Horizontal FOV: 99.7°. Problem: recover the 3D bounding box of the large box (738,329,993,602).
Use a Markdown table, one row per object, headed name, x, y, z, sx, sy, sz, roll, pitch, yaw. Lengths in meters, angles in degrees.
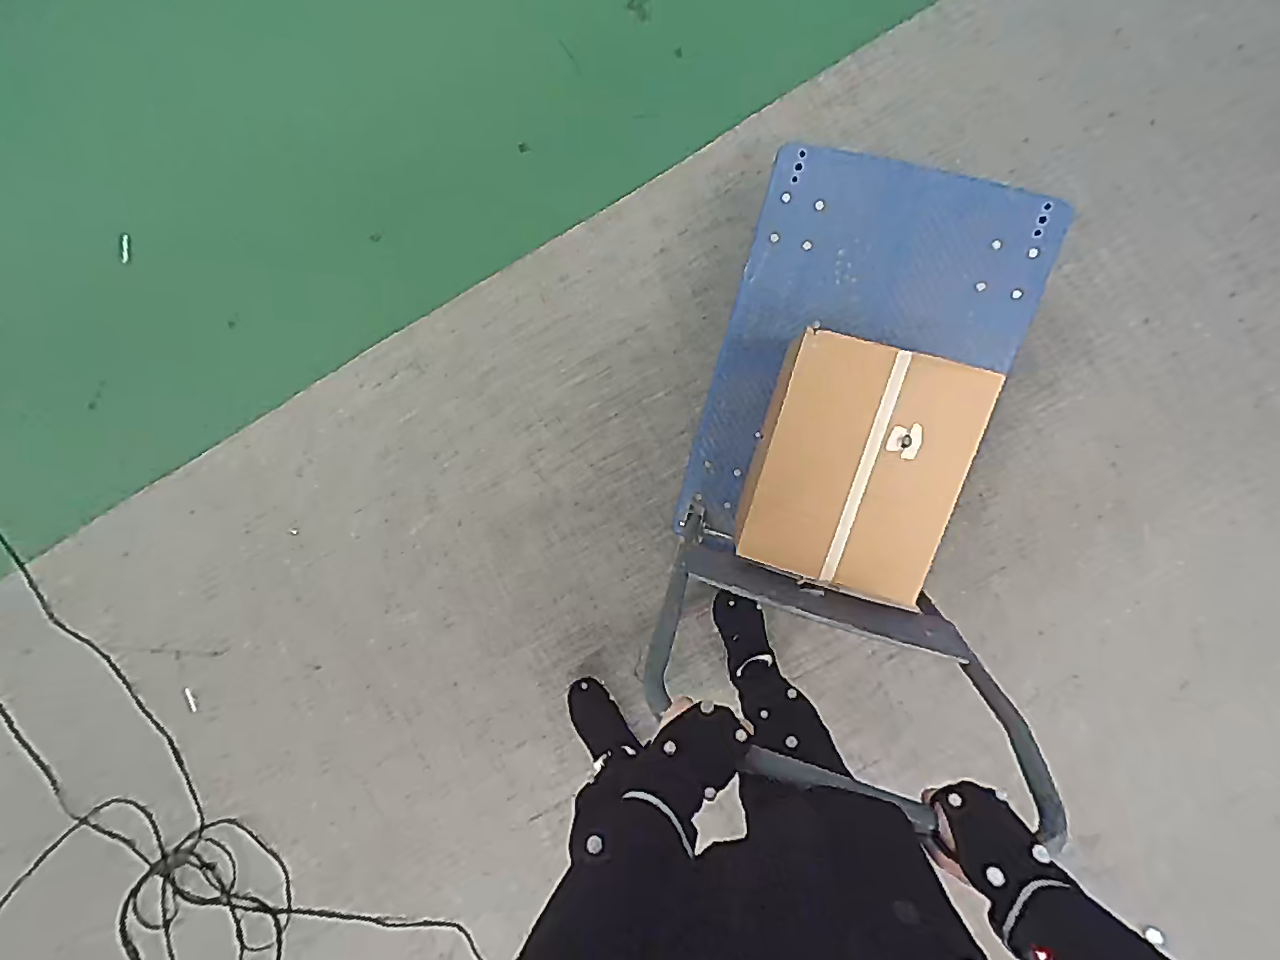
| name | x | y | z | sx | sy | sz | roll | pitch | yaw |
| --- | --- | --- | --- | --- | --- | --- | --- | --- | --- |
| large box | 0.388 | -0.039 | 1.041 | 0.320 | 0.320 | 0.408 | 16 | 101 | 7 |
